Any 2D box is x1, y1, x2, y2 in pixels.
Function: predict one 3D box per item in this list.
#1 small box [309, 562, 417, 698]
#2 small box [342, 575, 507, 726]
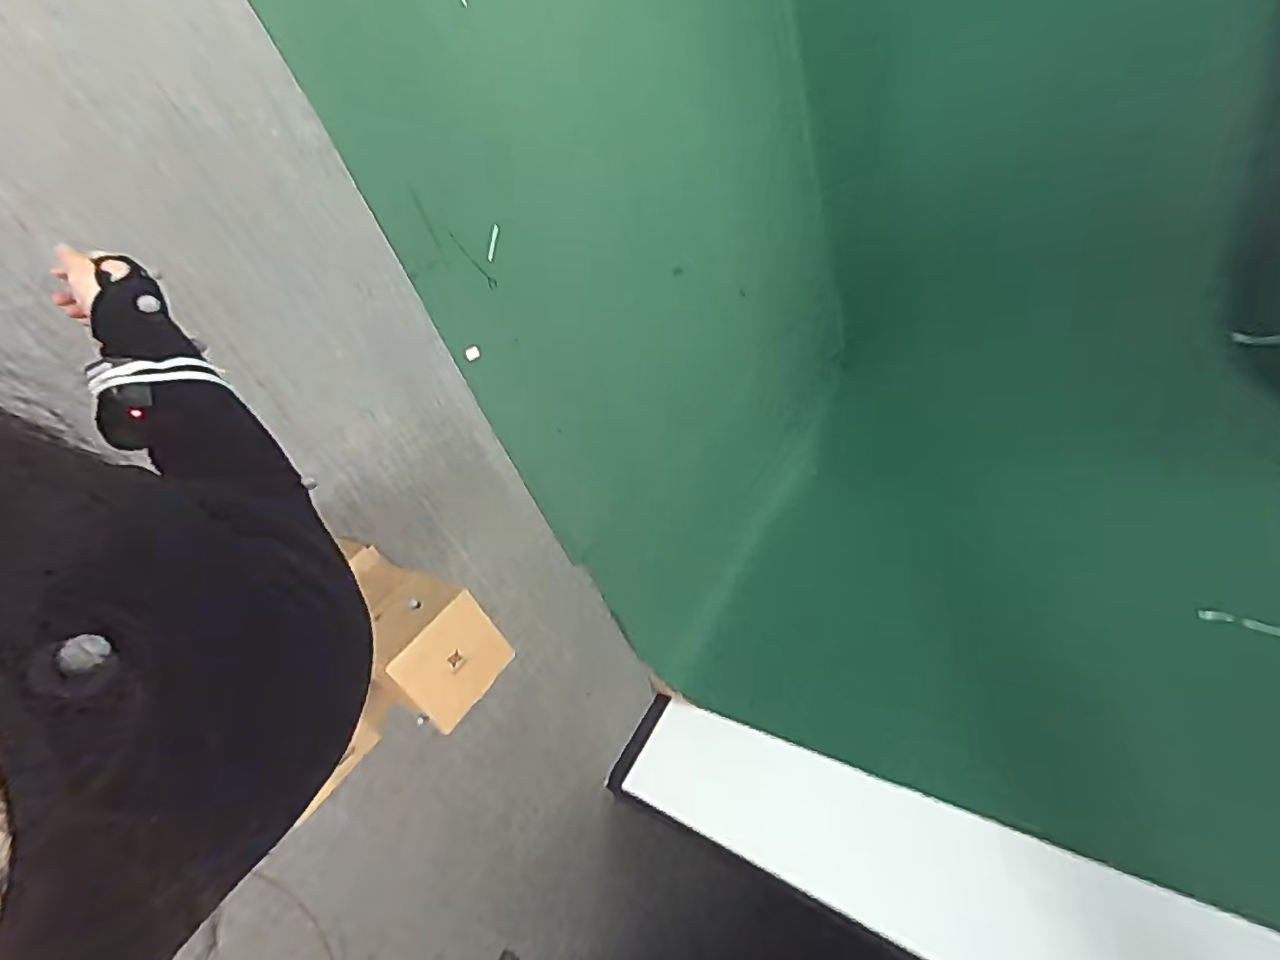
[{"bbox_3d":[-0.495,0.281,1.051,0.168,0.176,0.179,-47,127,-35],"label":"small box"},{"bbox_3d":[-0.375,0.284,0.941,0.168,0.176,0.179,-48,128,-34],"label":"small box"}]
